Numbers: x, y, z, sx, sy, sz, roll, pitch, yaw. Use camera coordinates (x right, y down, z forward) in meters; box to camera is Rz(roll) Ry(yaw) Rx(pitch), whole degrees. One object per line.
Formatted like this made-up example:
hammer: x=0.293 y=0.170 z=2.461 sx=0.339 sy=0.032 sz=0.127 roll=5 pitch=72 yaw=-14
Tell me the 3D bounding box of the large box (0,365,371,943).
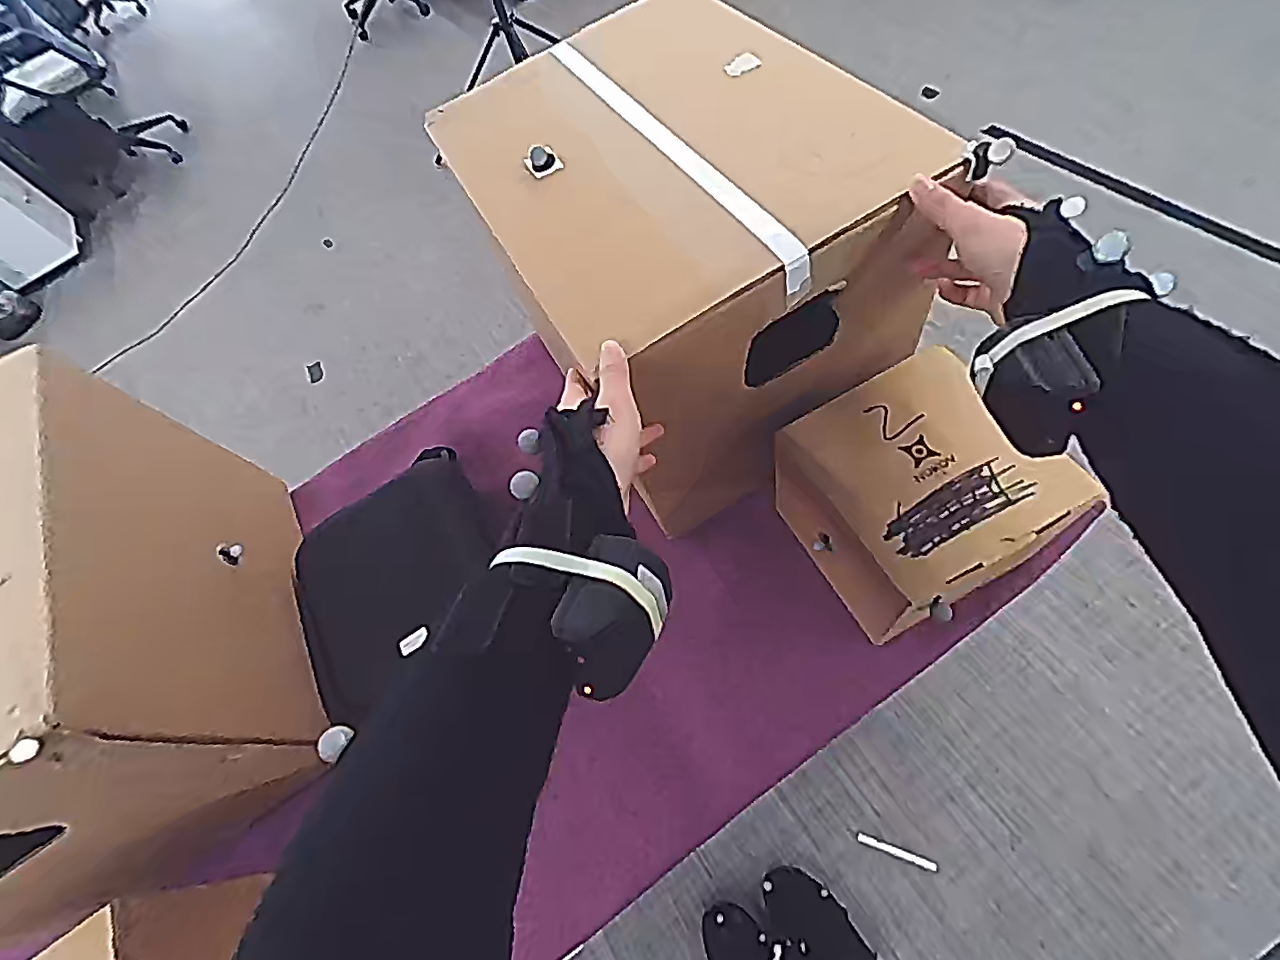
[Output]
large box: x=-0.557 y=0.171 z=0.551 sx=0.320 sy=0.320 sz=0.408 roll=-35 pitch=63 yaw=-5
